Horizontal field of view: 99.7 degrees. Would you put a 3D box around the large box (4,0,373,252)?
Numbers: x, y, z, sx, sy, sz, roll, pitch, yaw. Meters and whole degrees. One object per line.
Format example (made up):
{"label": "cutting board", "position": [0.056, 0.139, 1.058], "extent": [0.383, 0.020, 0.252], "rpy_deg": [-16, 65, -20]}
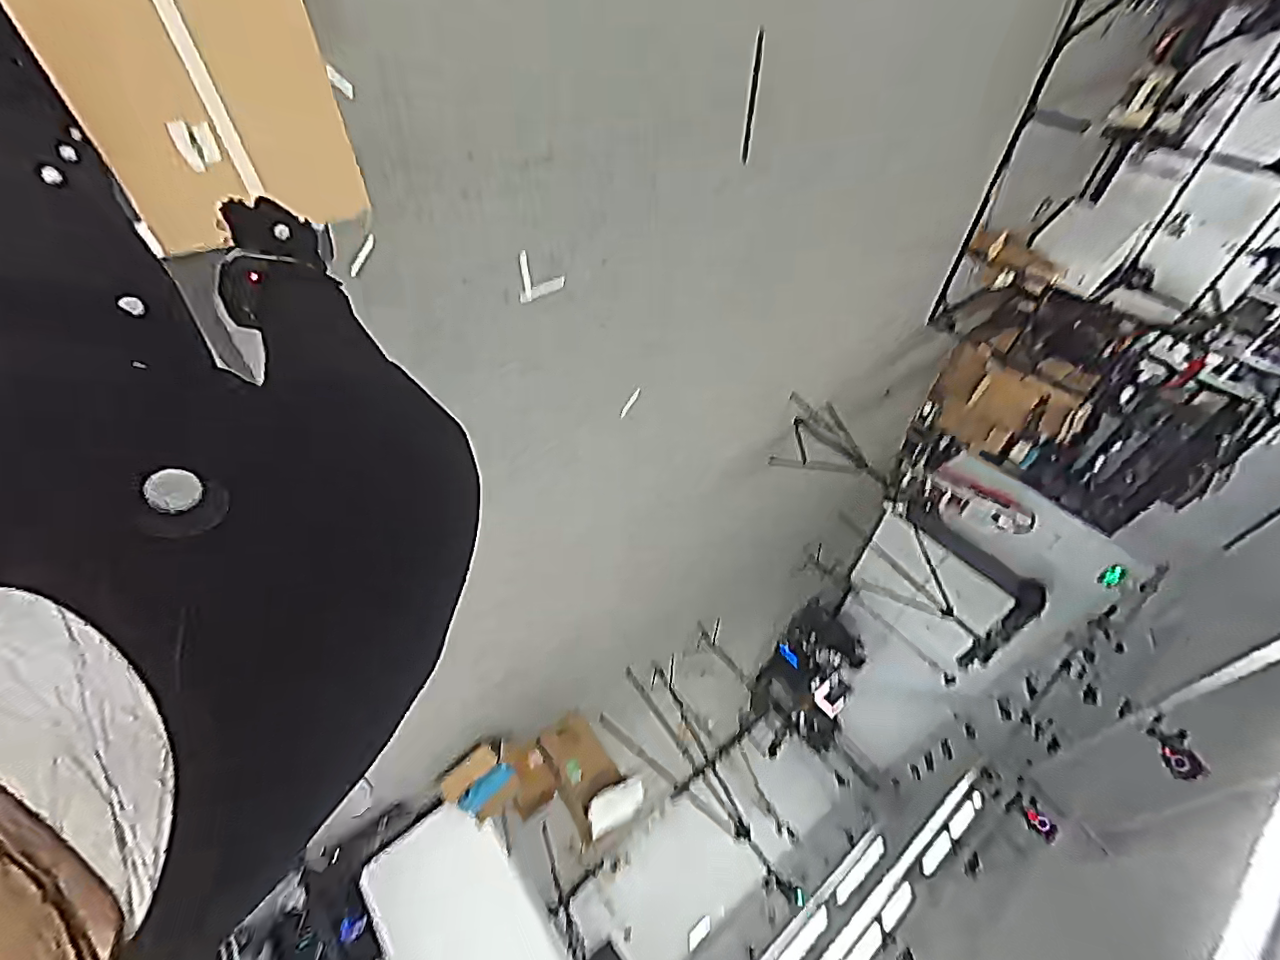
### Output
{"label": "large box", "position": [-0.671, -0.636, 0.822], "extent": [0.320, 0.320, 0.408], "rpy_deg": [-24, 144, -21]}
